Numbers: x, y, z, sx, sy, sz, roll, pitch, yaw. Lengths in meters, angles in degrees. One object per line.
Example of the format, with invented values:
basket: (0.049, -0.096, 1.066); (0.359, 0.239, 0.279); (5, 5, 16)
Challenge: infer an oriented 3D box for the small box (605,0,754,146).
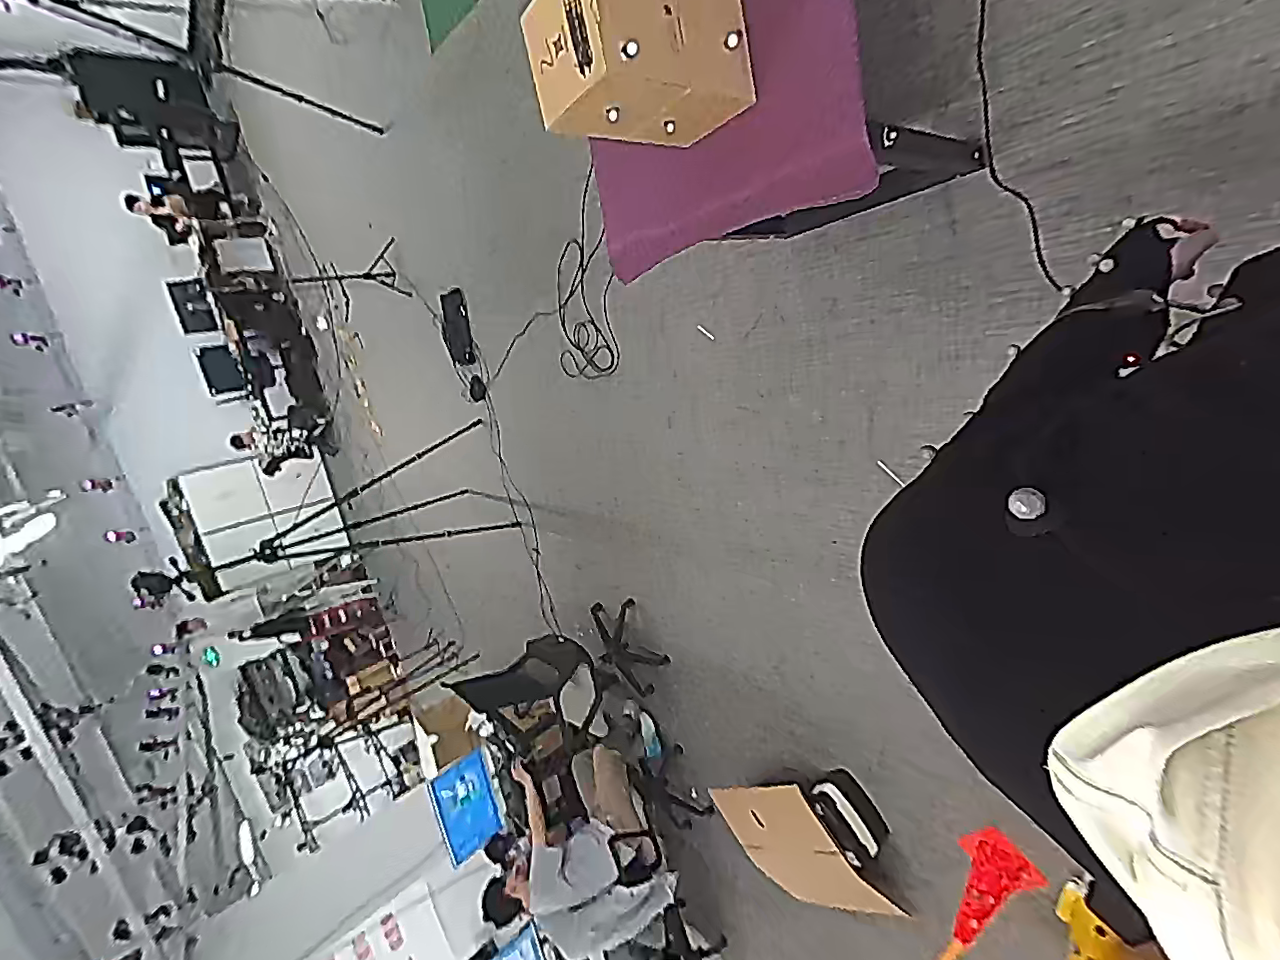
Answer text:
small box: (0.069, -0.705, 0.936); (0.179, 0.176, 0.168); (2, 109, 50)
